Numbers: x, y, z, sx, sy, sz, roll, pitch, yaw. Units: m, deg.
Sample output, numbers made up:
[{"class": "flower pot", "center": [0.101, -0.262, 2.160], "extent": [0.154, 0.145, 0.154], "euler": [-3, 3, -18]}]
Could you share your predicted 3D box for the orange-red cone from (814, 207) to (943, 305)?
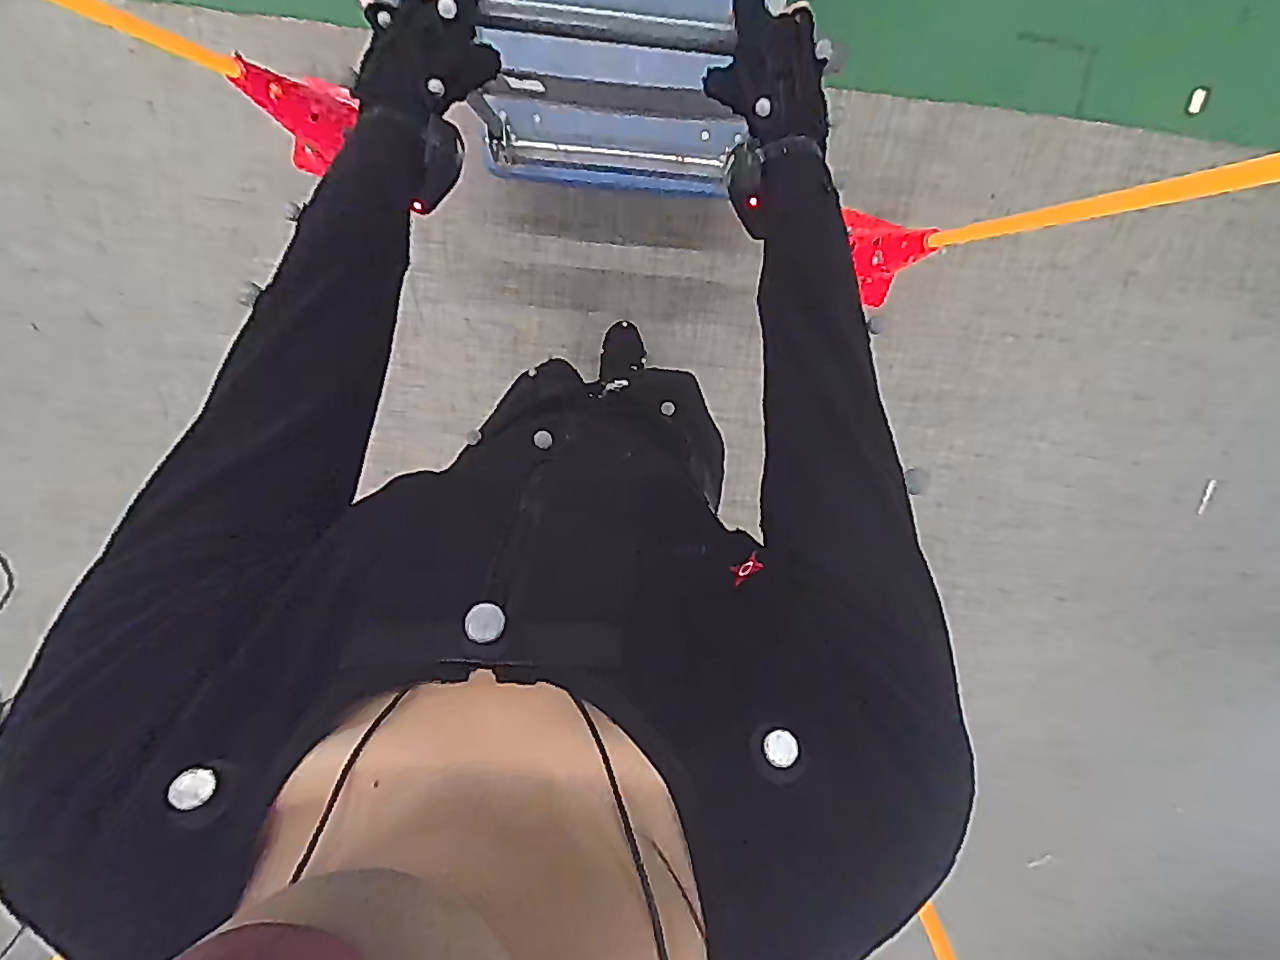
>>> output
[{"class": "orange-red cone", "center": [0.558, -0.512, 1.195], "extent": [0.198, 0.360, 0.199], "euler": [16, 106, -5]}]
